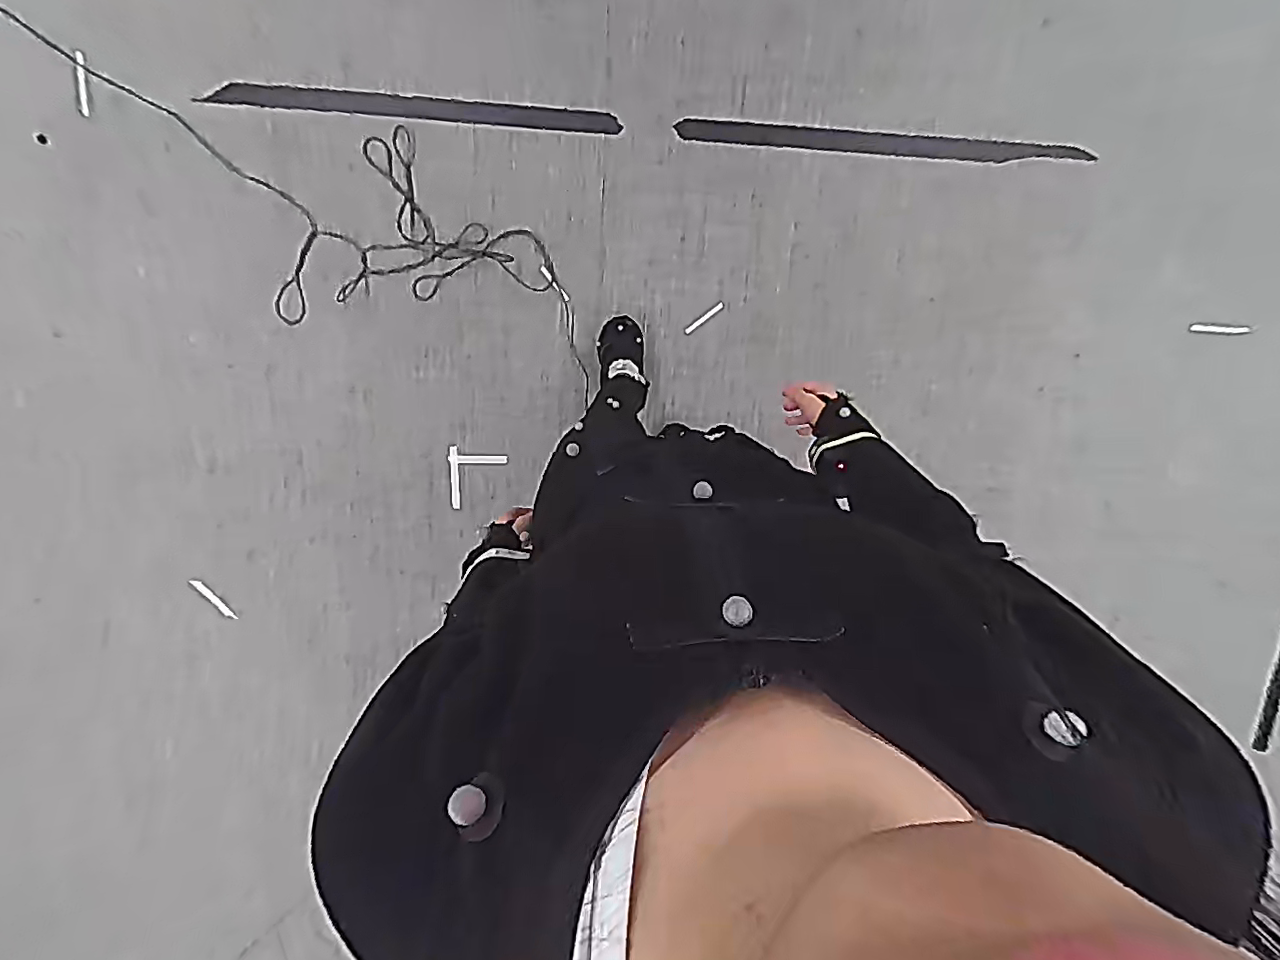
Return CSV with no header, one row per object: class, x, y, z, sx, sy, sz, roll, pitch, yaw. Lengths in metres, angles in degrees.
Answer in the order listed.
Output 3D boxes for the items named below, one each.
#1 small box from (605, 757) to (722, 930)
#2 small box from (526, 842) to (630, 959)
small box,0.034,0.601,0.912,0.168,0.176,0.179,7,100,-2
small box,-0.104,0.781,0.946,0.168,0.176,0.179,4,99,-3
